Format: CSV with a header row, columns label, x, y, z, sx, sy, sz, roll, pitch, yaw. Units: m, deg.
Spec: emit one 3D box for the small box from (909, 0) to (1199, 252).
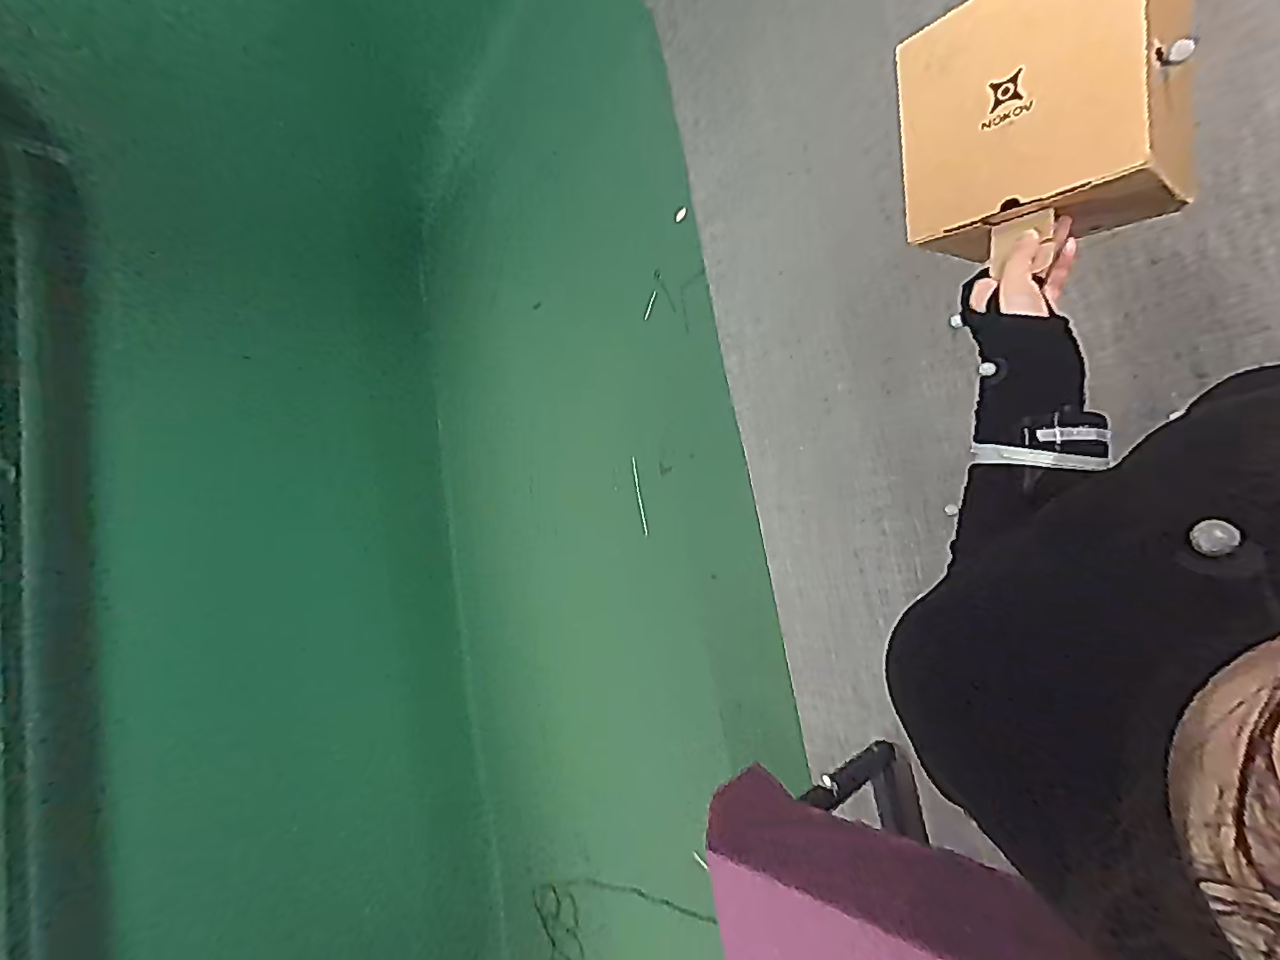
label,x,y,z,sx,sy,sz,roll,pitch,yaw
small box,0.357,-0.318,0.471,0.168,0.176,0.179,3,101,52
